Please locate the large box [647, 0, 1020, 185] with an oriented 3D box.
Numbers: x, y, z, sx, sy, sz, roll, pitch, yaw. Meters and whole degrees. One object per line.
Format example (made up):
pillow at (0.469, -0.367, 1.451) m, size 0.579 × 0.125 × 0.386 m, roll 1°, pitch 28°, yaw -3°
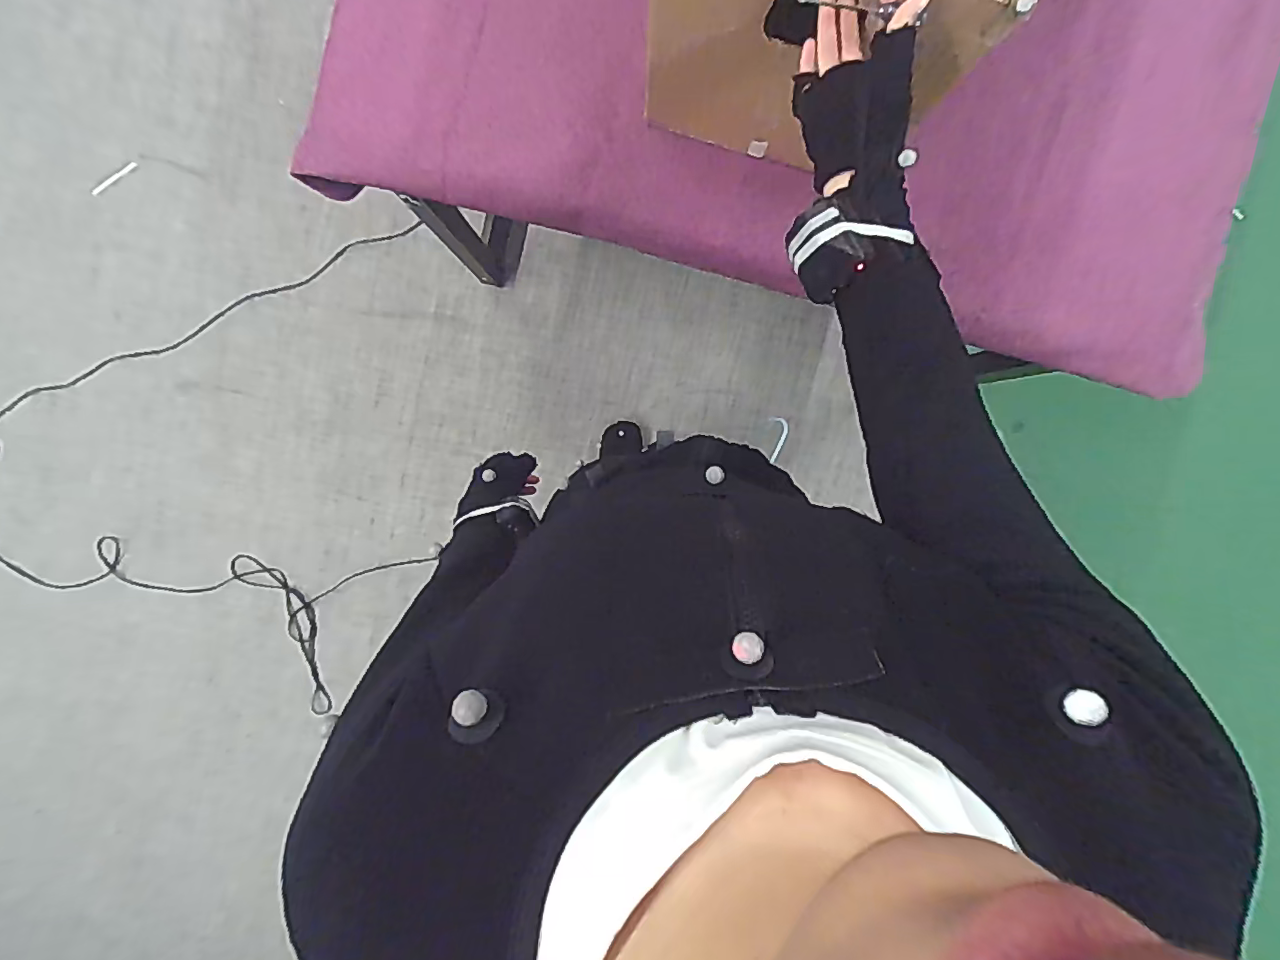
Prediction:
large box at (0.208, -0.618, 0.573) m, size 0.320 × 0.320 × 0.408 m, roll 15°, pitch 95°, yaw -2°
